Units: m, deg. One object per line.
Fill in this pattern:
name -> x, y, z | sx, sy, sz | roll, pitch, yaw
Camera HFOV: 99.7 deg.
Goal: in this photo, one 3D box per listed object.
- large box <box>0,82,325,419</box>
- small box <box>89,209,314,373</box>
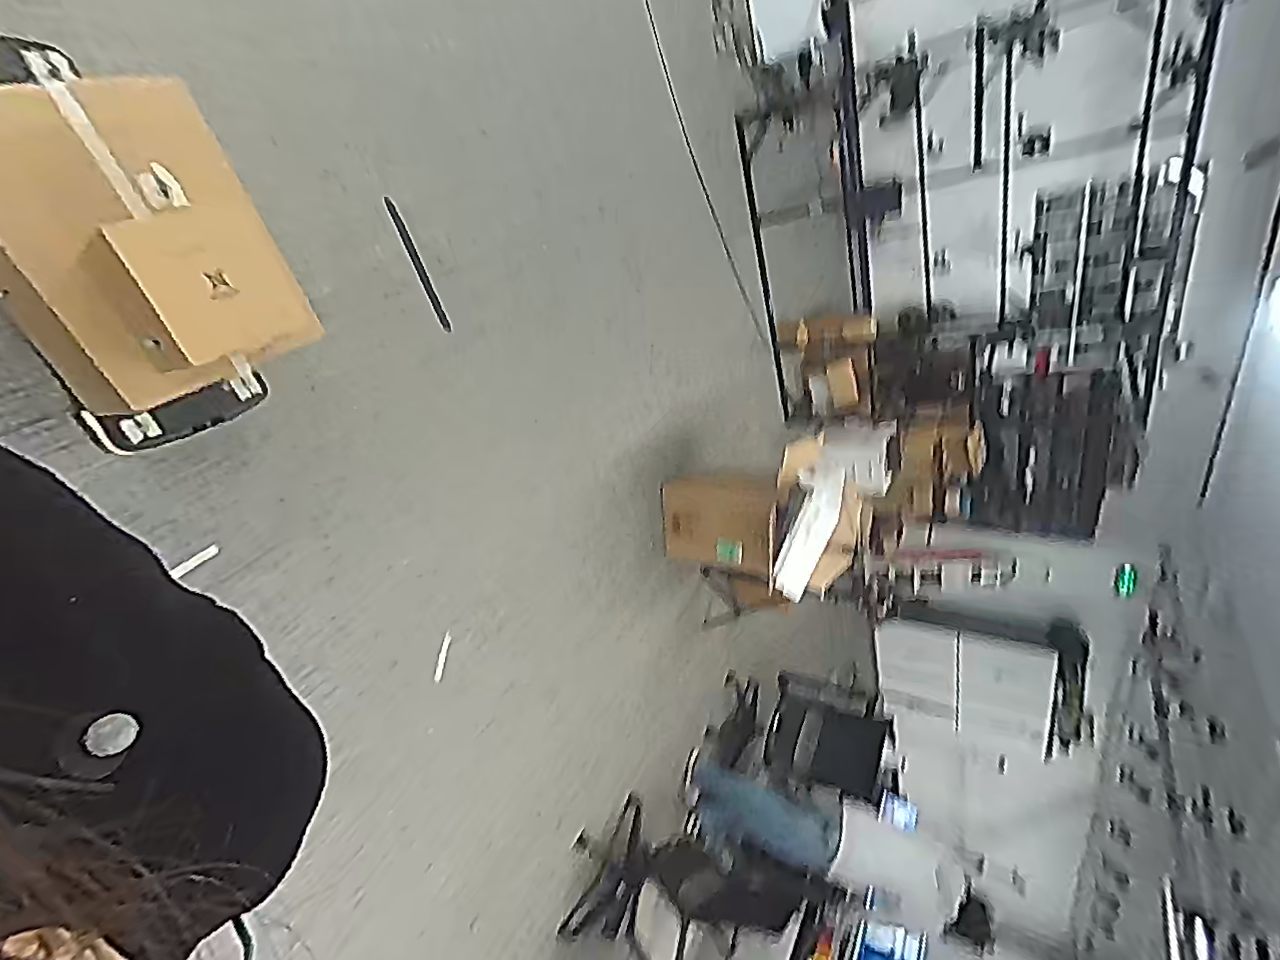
large box -> -0.825, -0.346, 0.879 | 0.320, 0.320, 0.408 | -46, 127, -42
small box -> -0.612, -0.259, 0.761 | 0.168, 0.176, 0.179 | -43, 125, -42
